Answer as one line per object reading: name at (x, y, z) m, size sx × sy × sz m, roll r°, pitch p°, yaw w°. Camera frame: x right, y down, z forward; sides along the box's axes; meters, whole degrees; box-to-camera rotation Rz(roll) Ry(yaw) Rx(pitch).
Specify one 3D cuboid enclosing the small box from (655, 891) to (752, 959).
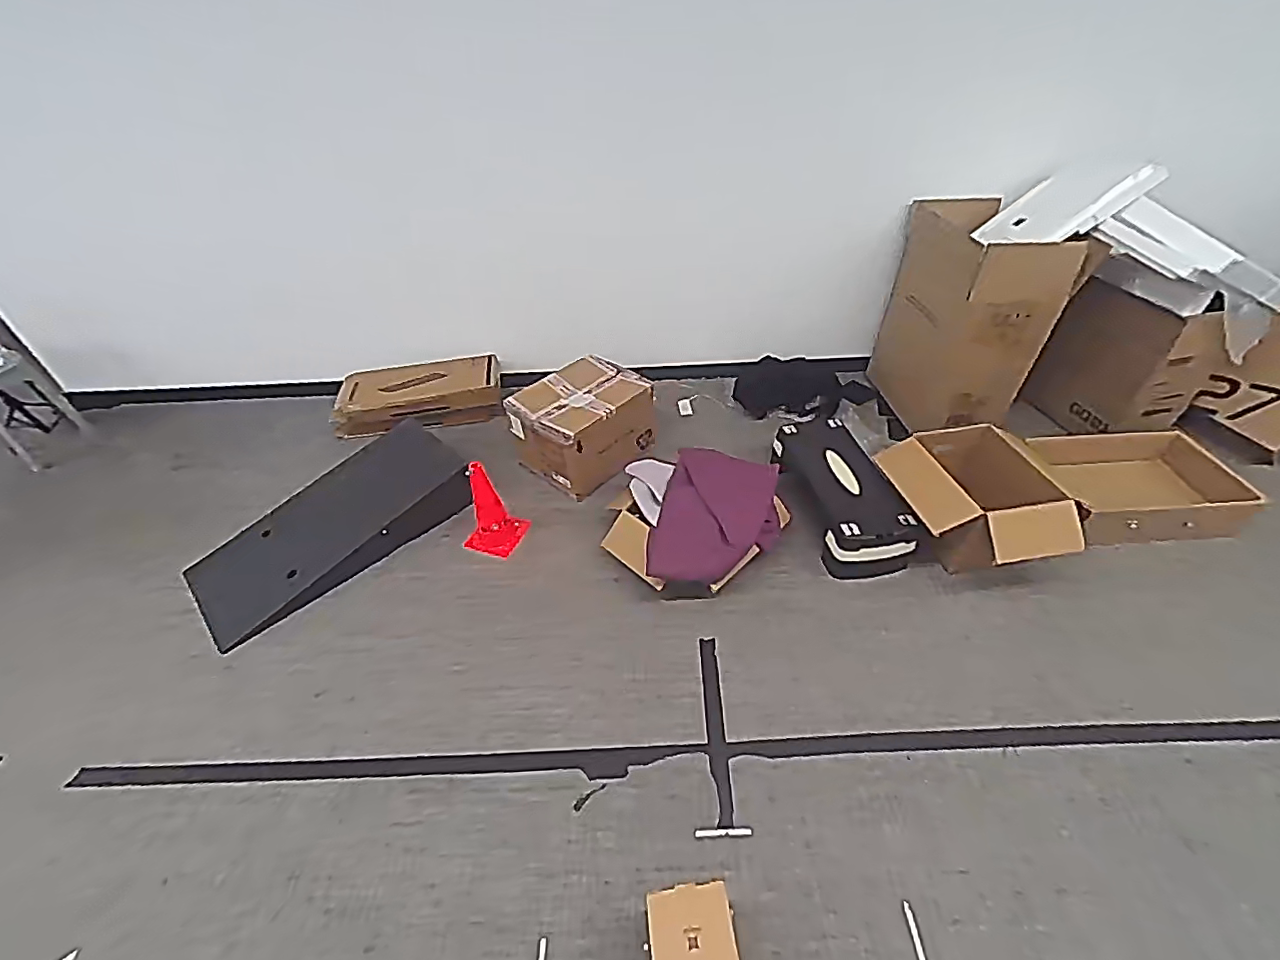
small box at (0.119, 0.908, 1.015) m, size 0.168 × 0.176 × 0.179 m, roll -7°, pitch 43°, yaw -3°
